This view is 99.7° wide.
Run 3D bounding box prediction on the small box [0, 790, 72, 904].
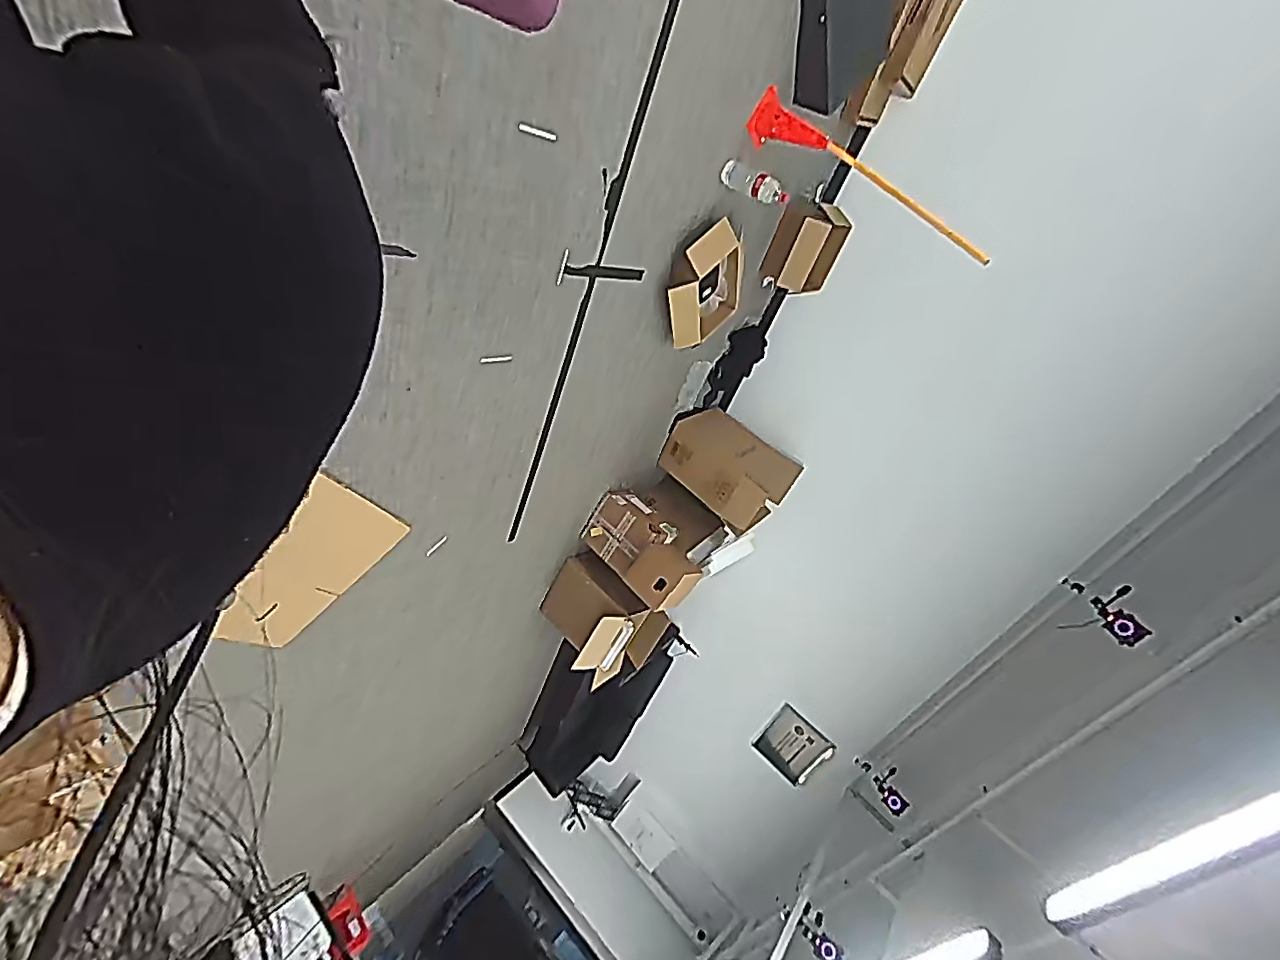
[{"bbox_3d":[-1.569,0.912,1.338,0.168,0.176,0.179,-25,147,-46],"label":"small box"}]
